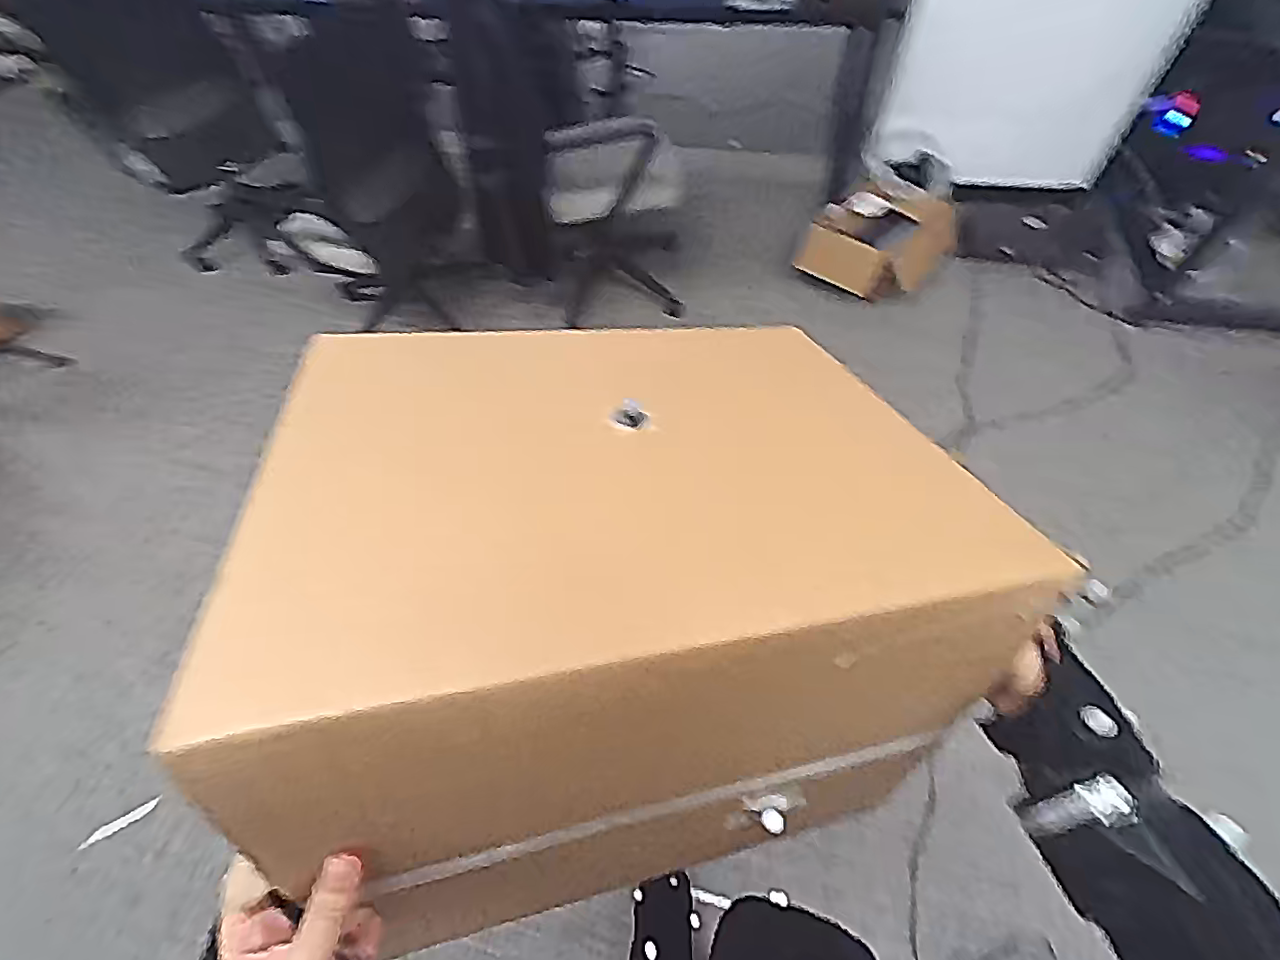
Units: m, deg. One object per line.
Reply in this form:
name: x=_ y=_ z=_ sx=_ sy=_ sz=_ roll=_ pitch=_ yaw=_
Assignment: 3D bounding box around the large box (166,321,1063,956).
large box: x=-0.023 y=0.083 z=0.429 sx=0.408 sy=0.320 sz=0.320 roll=-7 pitch=41 yaw=-16
